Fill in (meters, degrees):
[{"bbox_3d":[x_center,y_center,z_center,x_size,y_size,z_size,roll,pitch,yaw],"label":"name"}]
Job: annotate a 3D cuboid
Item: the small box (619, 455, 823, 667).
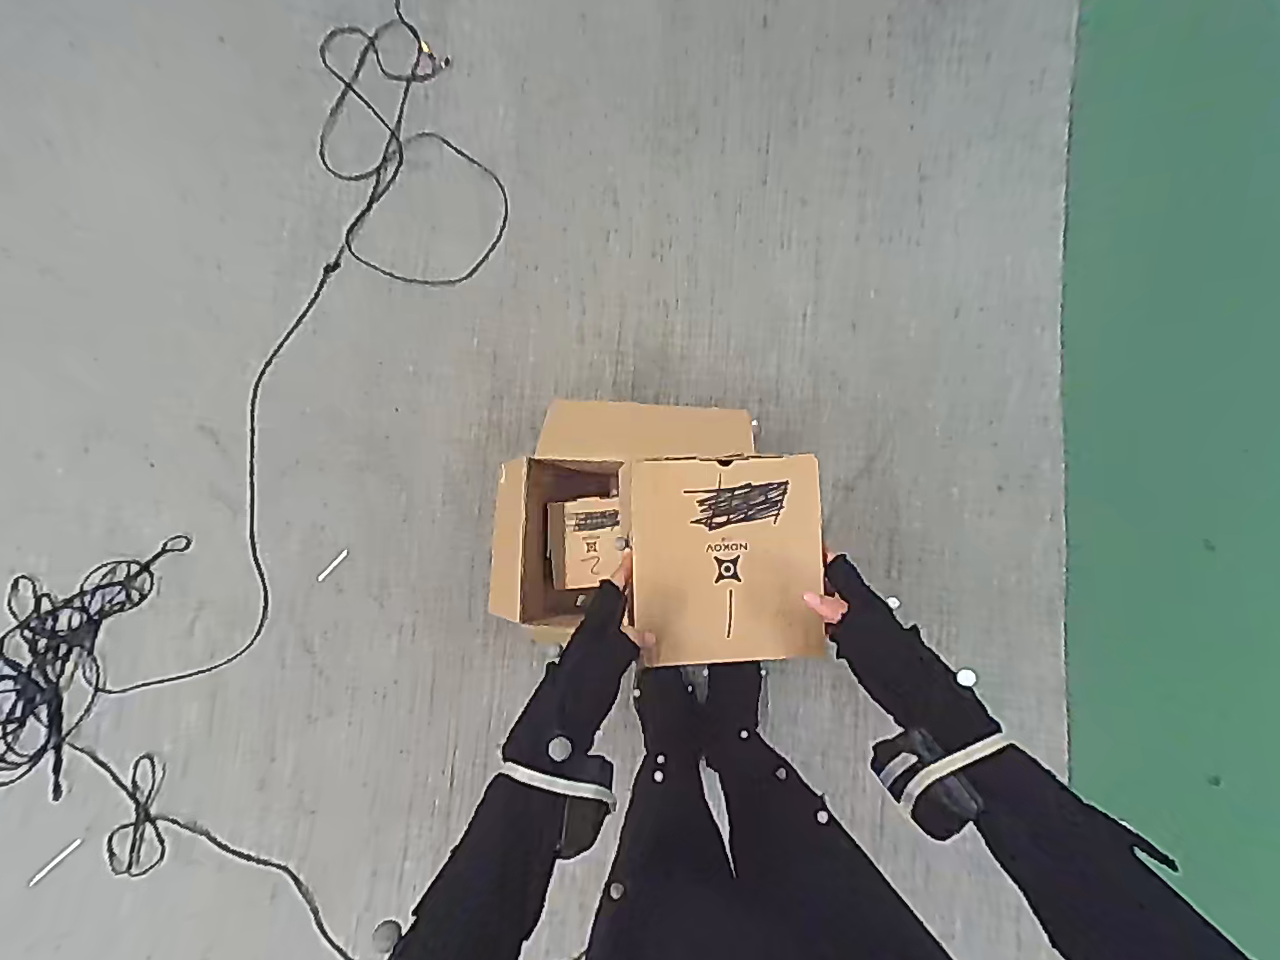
[{"bbox_3d":[0.065,0.069,0.532,0.168,0.176,0.179,-1,89,-5],"label":"small box"}]
